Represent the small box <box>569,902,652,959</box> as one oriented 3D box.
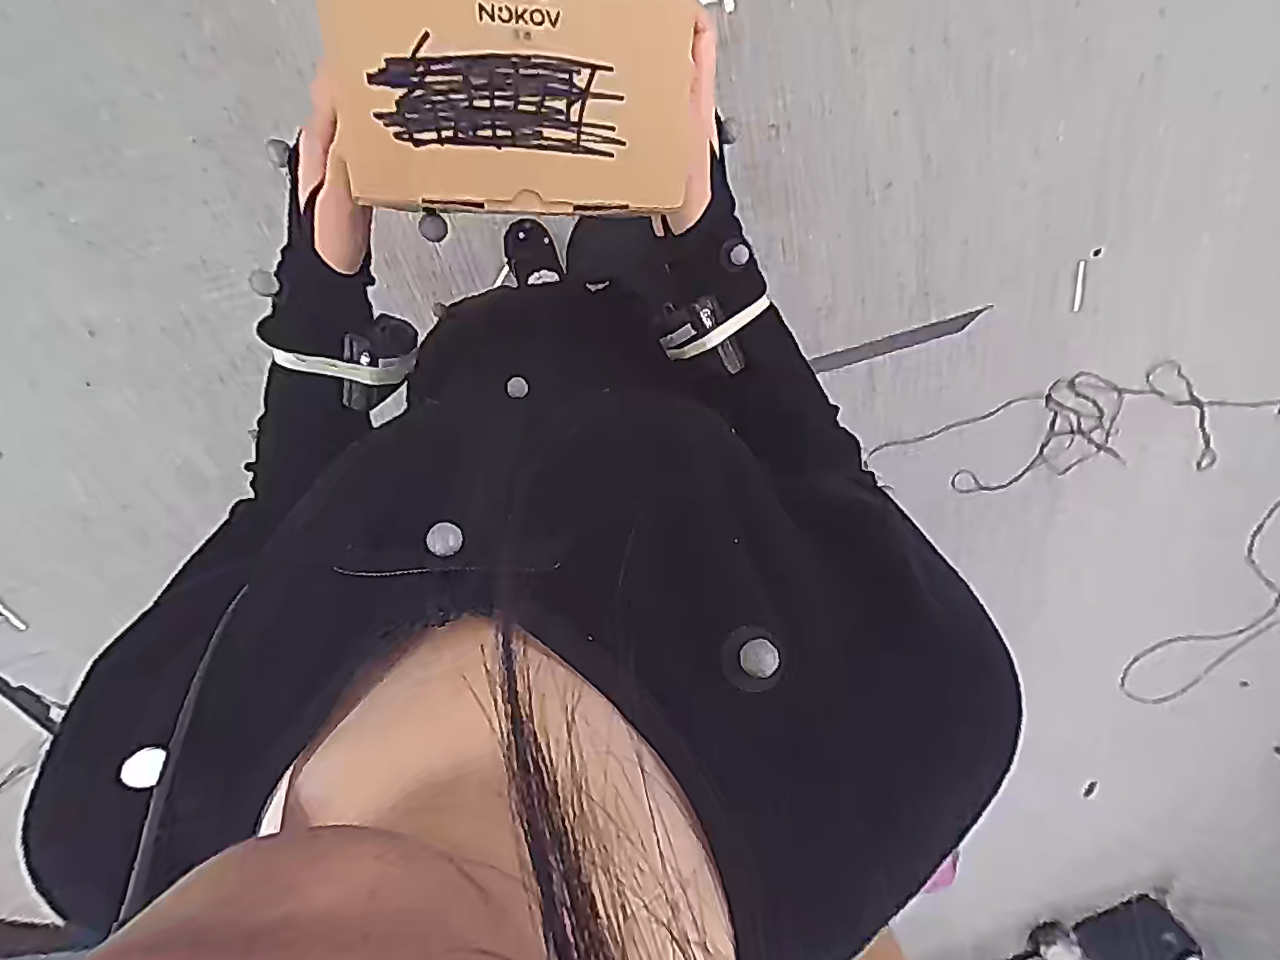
[{"bbox_3d":[-0.058,1.085,1.196,0.168,0.176,0.179,-13,117,-5],"label":"small box"}]
